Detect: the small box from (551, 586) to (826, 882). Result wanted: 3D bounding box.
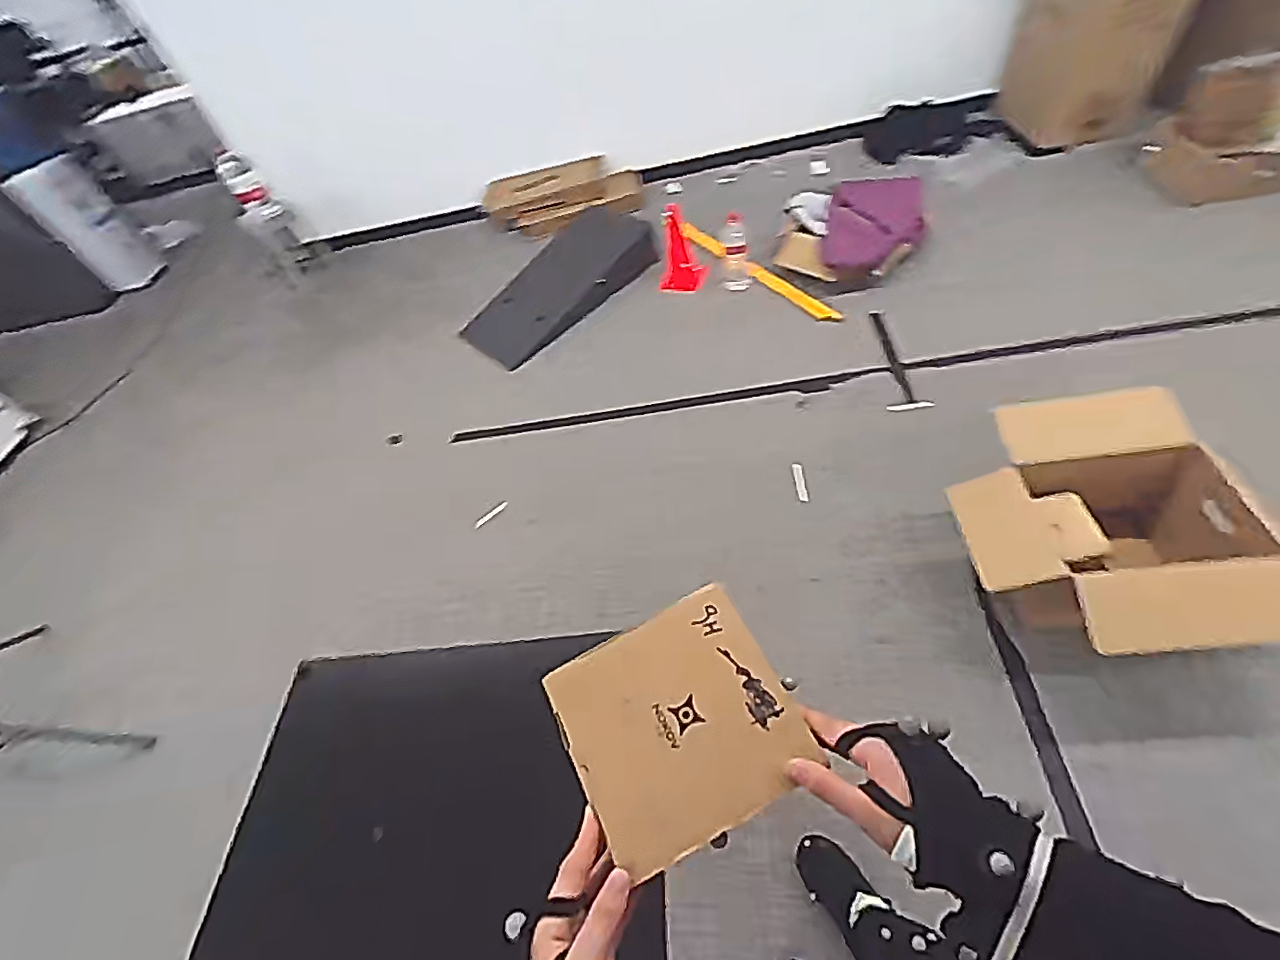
[{"bbox_3d":[0.046,0.230,0.503,0.179,0.176,0.168,-28,61,-3],"label":"small box"}]
